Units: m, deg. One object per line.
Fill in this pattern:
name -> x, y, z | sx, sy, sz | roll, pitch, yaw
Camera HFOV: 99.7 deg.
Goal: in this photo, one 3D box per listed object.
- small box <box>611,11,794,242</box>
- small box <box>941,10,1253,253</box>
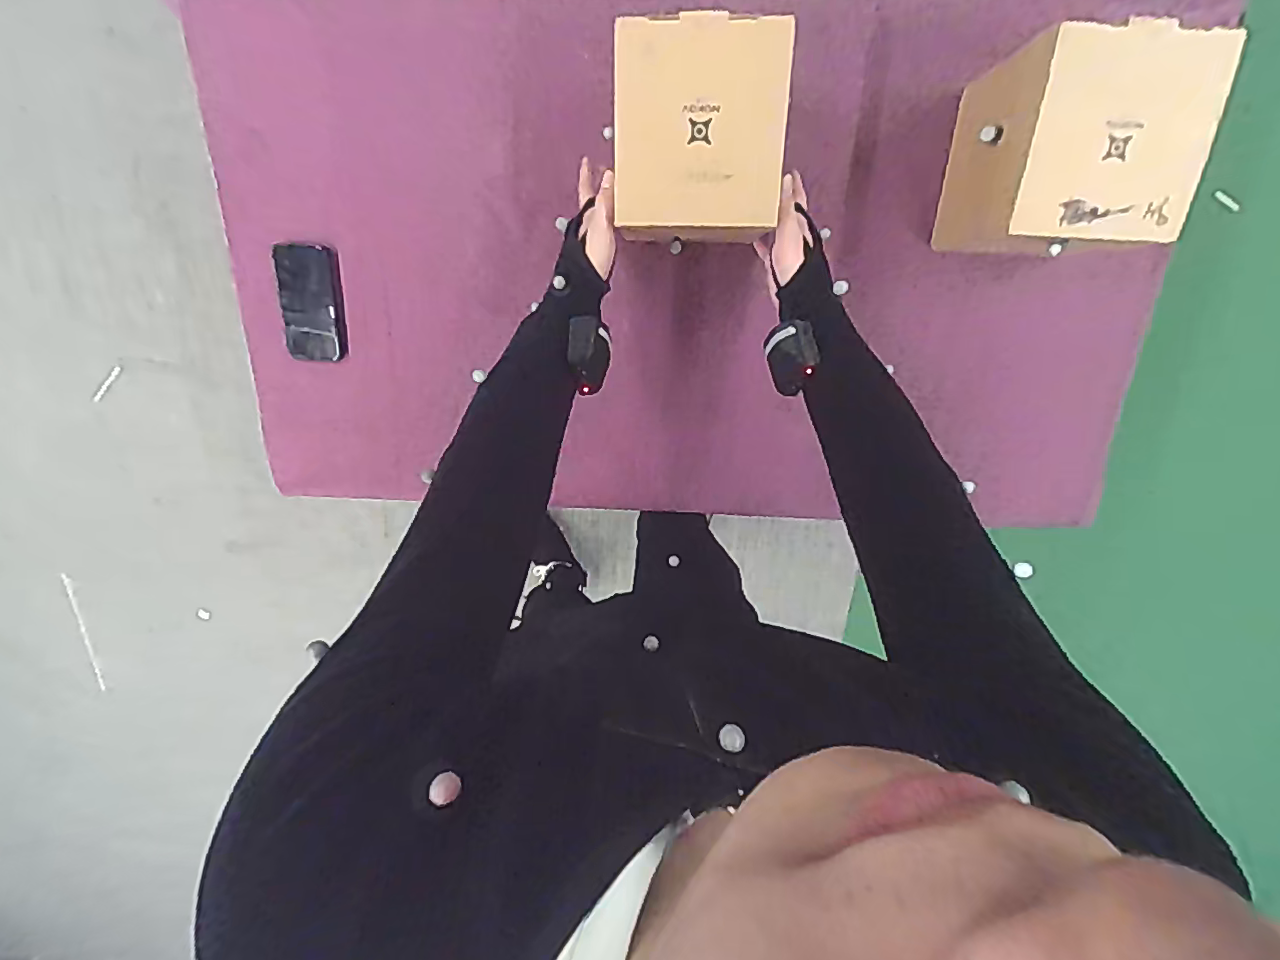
small box -> 0.060, -0.364, 0.588 | 0.168, 0.176, 0.179 | 3, 109, 4
small box -> 0.448, -0.345, 0.570 | 0.168, 0.176, 0.179 | 4, 108, 3
